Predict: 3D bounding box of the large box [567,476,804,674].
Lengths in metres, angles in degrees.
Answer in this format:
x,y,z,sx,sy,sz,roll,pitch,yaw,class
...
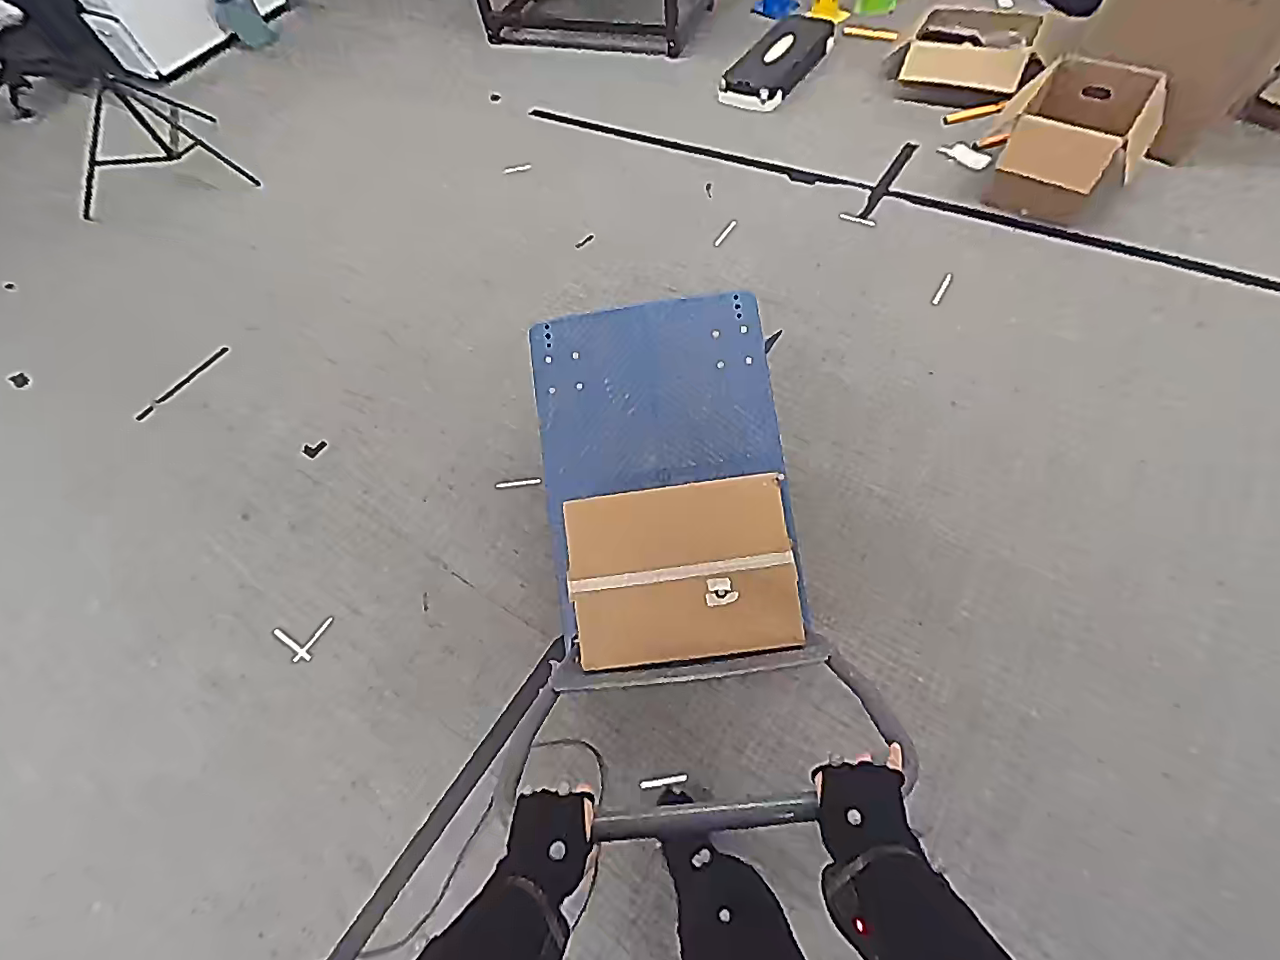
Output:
x,y,z,sx,sy,sz,roll,pitch,yaw,class
0.086,0.193,1.149,0.408,0.320,0.320,-9,83,2,large box
